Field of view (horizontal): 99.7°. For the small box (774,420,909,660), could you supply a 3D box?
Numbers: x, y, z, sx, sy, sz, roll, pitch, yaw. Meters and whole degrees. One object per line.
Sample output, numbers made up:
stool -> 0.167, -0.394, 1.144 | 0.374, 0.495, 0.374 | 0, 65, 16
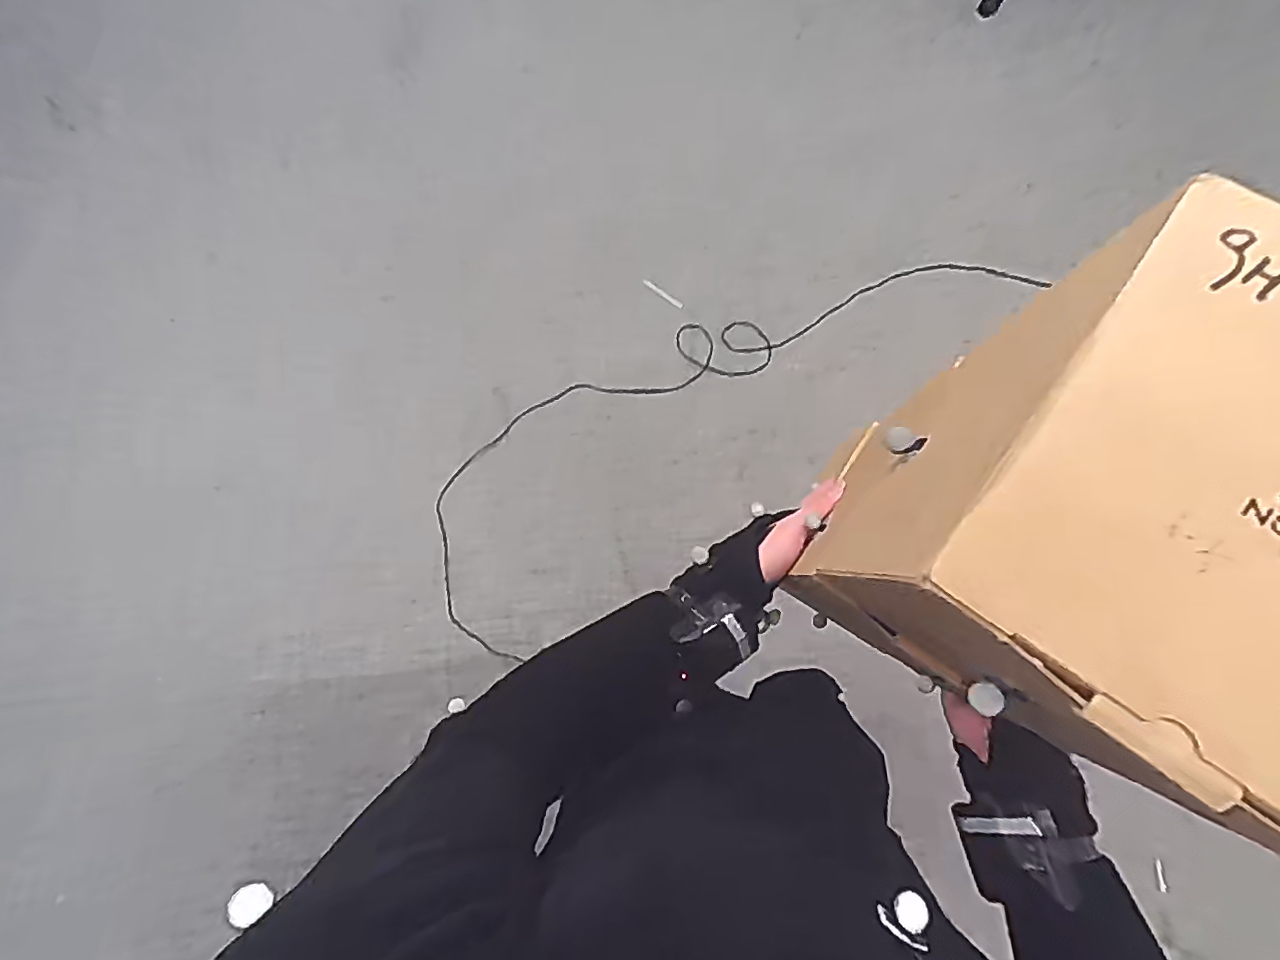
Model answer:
small box -> 0.255, 0.069, 0.563 | 0.168, 0.176, 0.179 | 32, 86, 11

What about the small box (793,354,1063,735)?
small box -> 0.233, 0.046, 0.404 | 0.168, 0.176, 0.179 | 34, 85, 10

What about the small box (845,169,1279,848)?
small box -> 0.216, 0.020, 0.243 | 0.168, 0.176, 0.179 | 36, 88, 11
